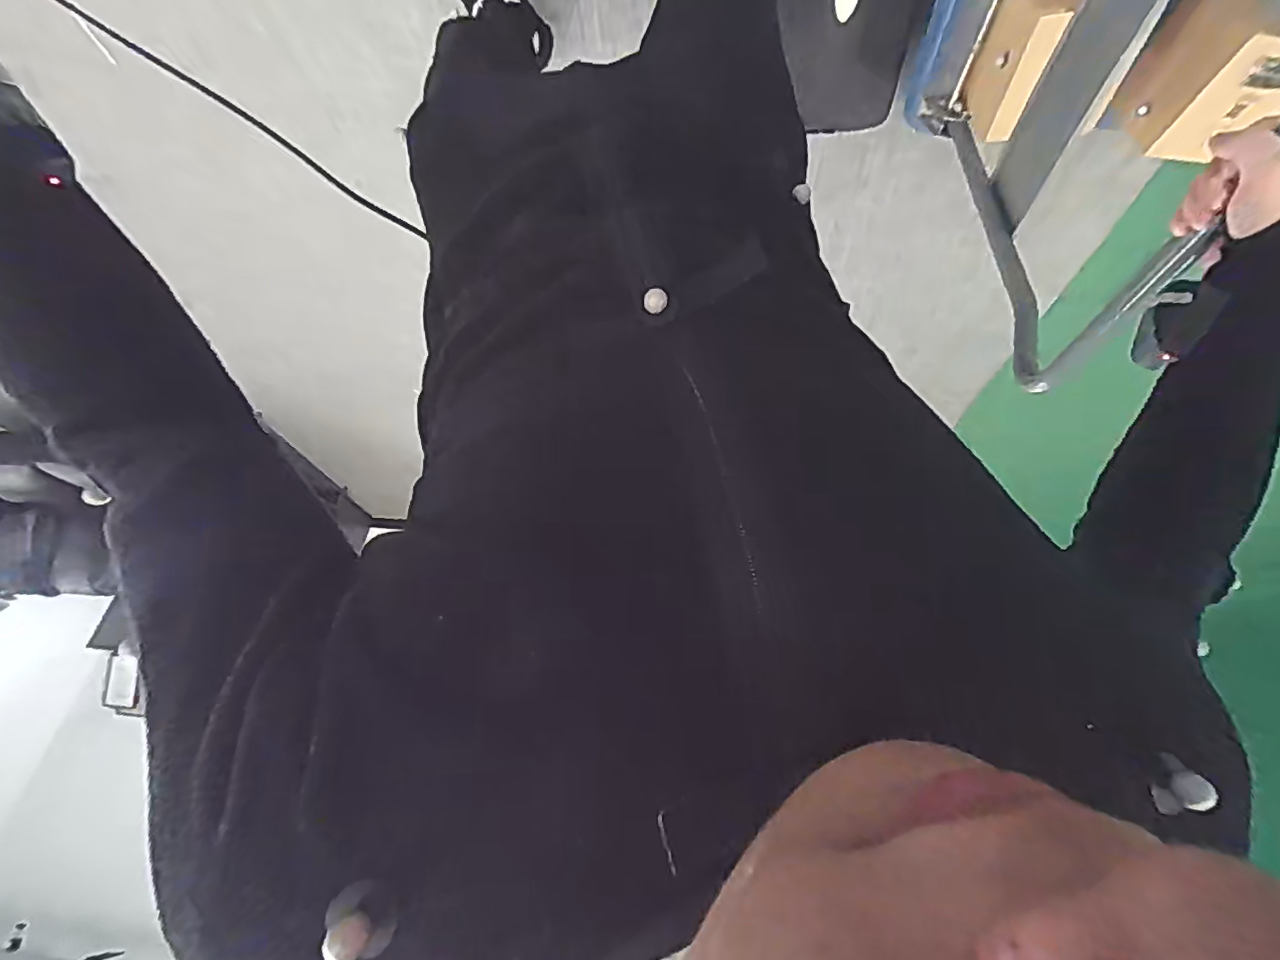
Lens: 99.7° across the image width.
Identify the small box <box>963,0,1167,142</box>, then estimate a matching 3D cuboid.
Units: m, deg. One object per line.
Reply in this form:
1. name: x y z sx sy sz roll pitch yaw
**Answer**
1. small box: 0.635 -0.667 0.841 0.168 0.176 0.179 -1 152 6
